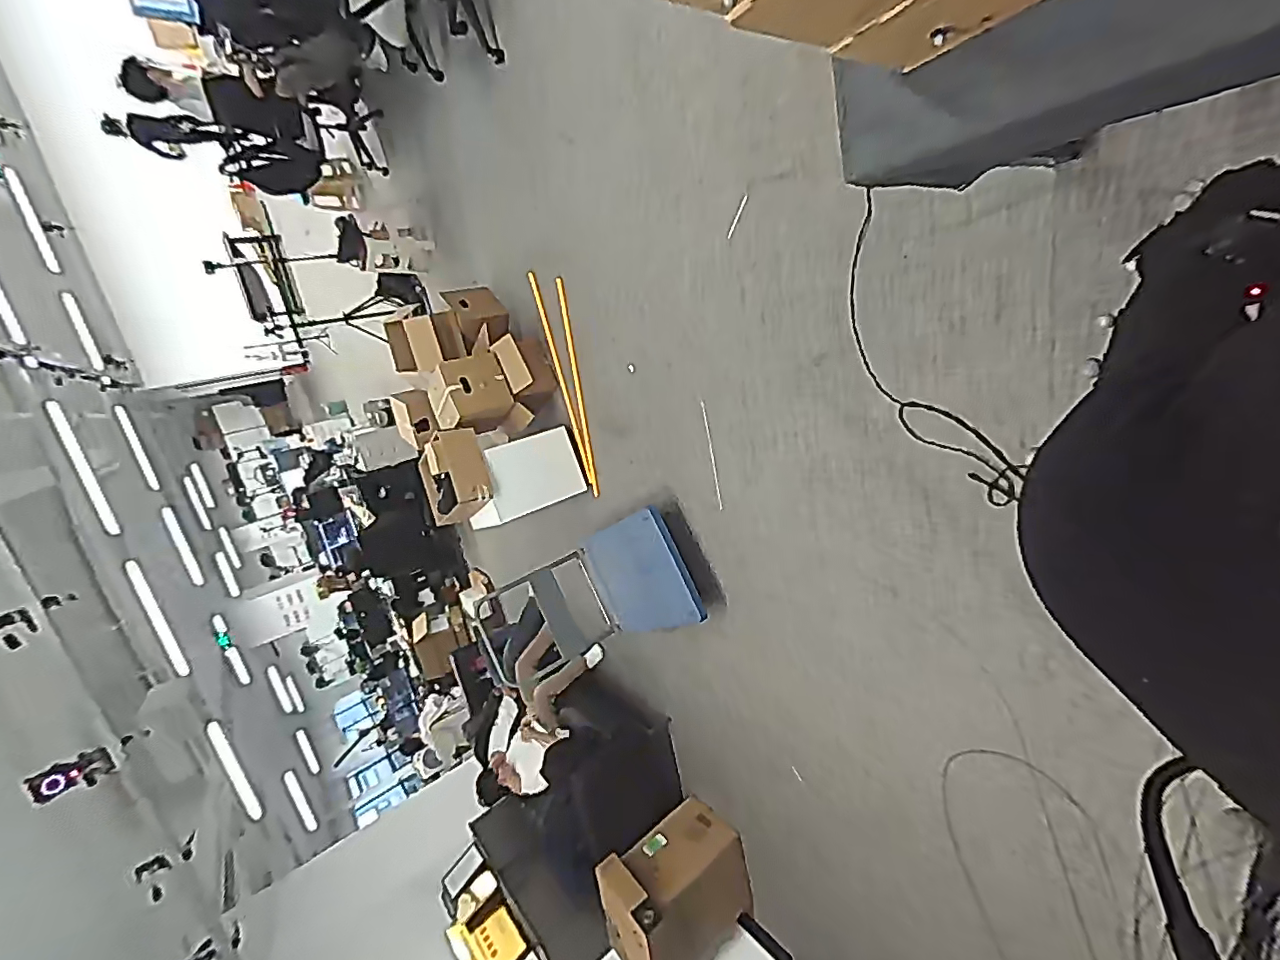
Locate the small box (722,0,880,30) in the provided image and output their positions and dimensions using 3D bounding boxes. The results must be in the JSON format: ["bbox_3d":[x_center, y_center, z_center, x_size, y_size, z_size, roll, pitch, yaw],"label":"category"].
[{"bbox_3d":[0.171,-0.519,0.452,0.168,0.176,0.179,6,113,52],"label":"small box"}]

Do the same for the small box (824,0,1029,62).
[{"bbox_3d":[0.296,-0.567,0.546,0.168,0.176,0.179,6,113,53],"label":"small box"}]
